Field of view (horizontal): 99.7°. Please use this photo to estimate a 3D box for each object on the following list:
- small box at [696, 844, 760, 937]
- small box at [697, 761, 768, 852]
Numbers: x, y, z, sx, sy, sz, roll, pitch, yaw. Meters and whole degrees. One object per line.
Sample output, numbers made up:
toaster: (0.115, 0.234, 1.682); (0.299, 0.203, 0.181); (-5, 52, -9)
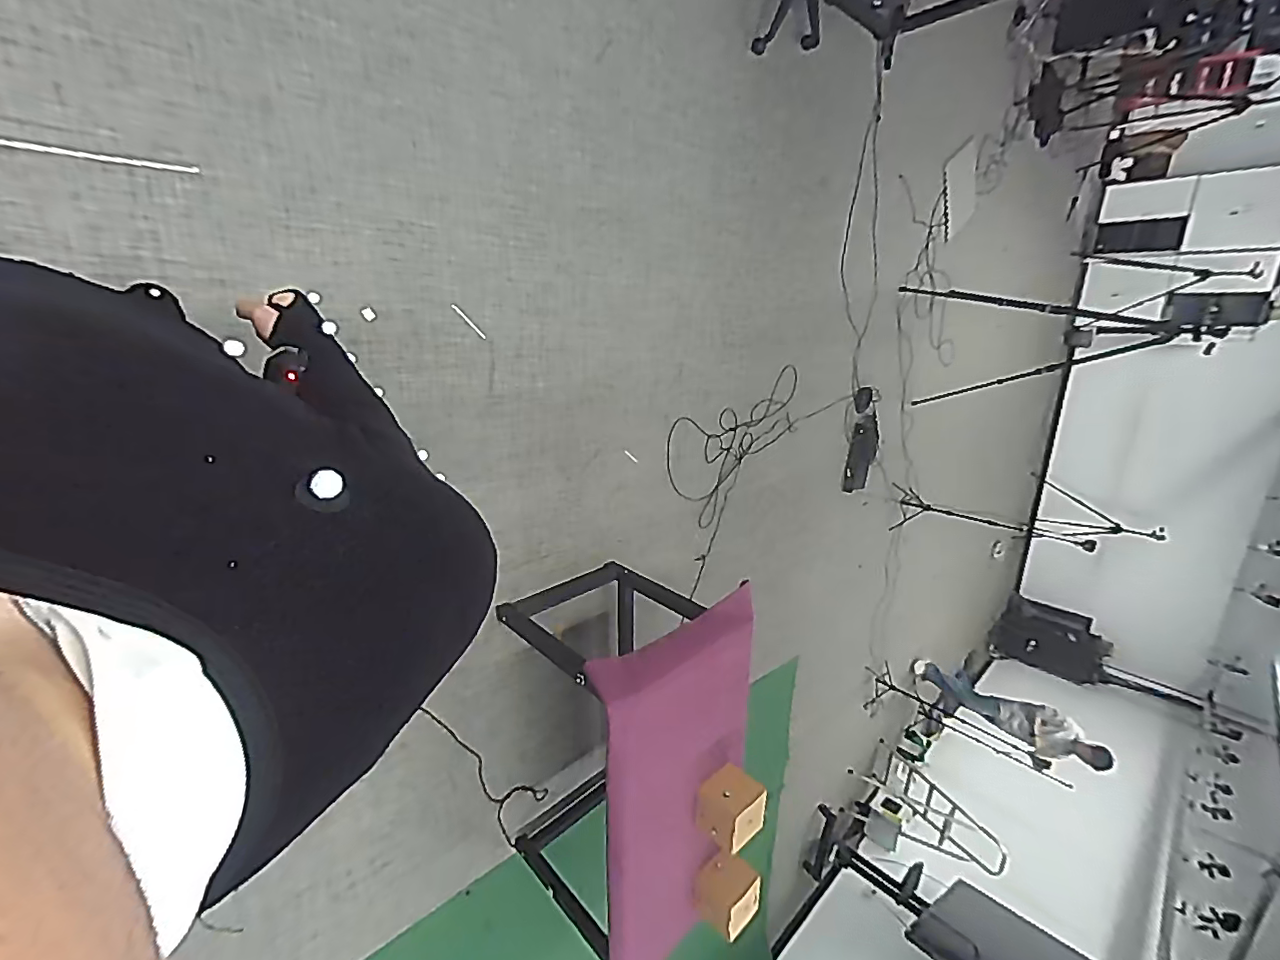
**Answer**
small box: (0.323, 1.513, 2.003); (0.179, 0.176, 0.168); (-14, 112, -40)
small box: (0.317, 1.124, 1.877); (0.179, 0.176, 0.168); (-12, 111, -42)
